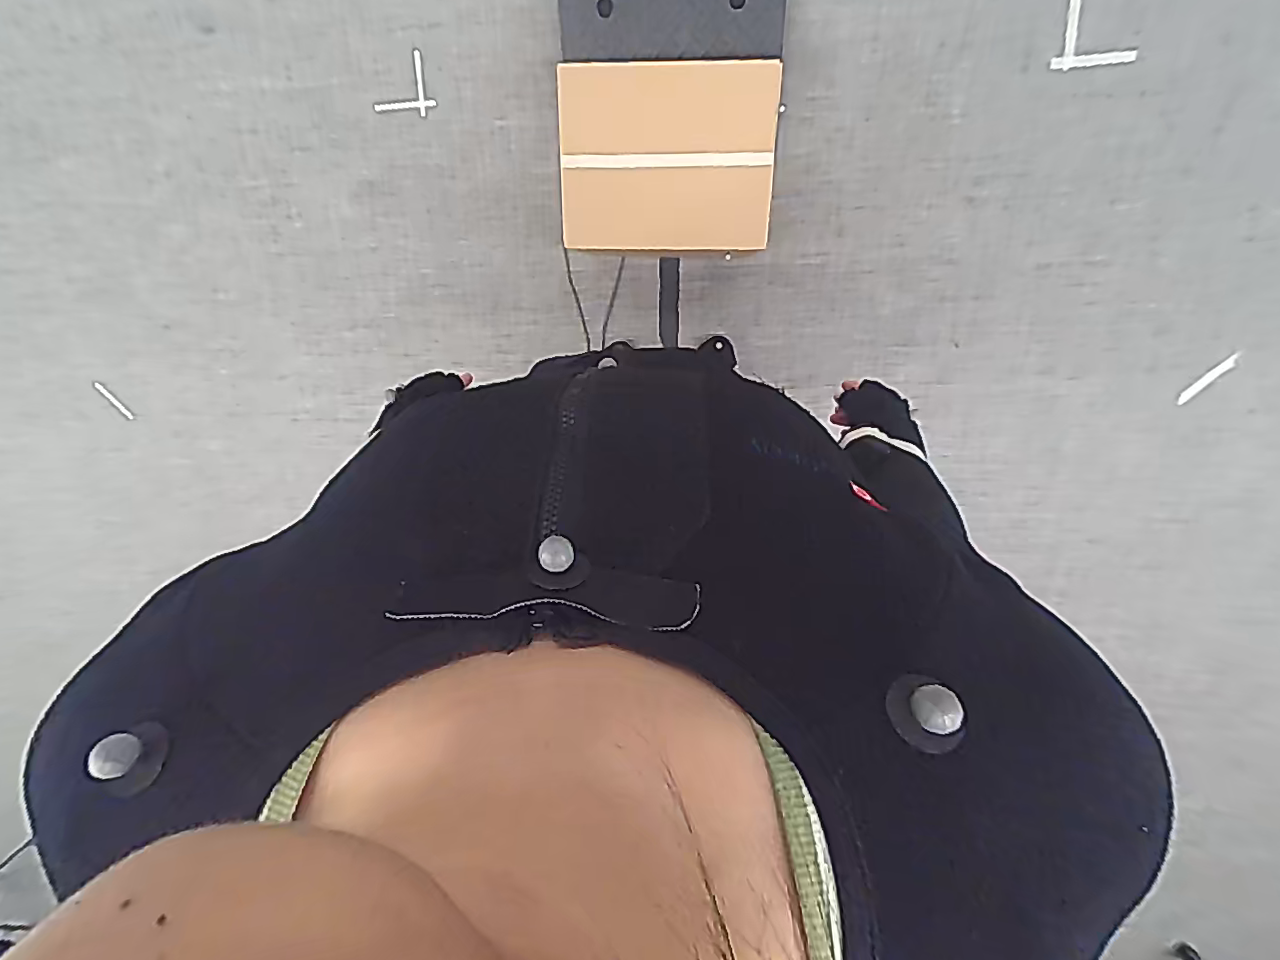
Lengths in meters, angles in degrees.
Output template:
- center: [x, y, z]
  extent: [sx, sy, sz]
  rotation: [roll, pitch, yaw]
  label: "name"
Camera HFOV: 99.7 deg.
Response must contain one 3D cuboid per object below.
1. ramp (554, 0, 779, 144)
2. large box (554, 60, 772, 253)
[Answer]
- center: [0.052, -1.227, 1.078]
  extent: [0.509, 0.206, 0.991]
  rotation: [-2, 106, 3]
  label: "ramp"
- center: [0.051, -0.660, 1.165]
  extent: [0.408, 0.320, 0.320]
  rotation: [2, 110, 3]
  label: "large box"
